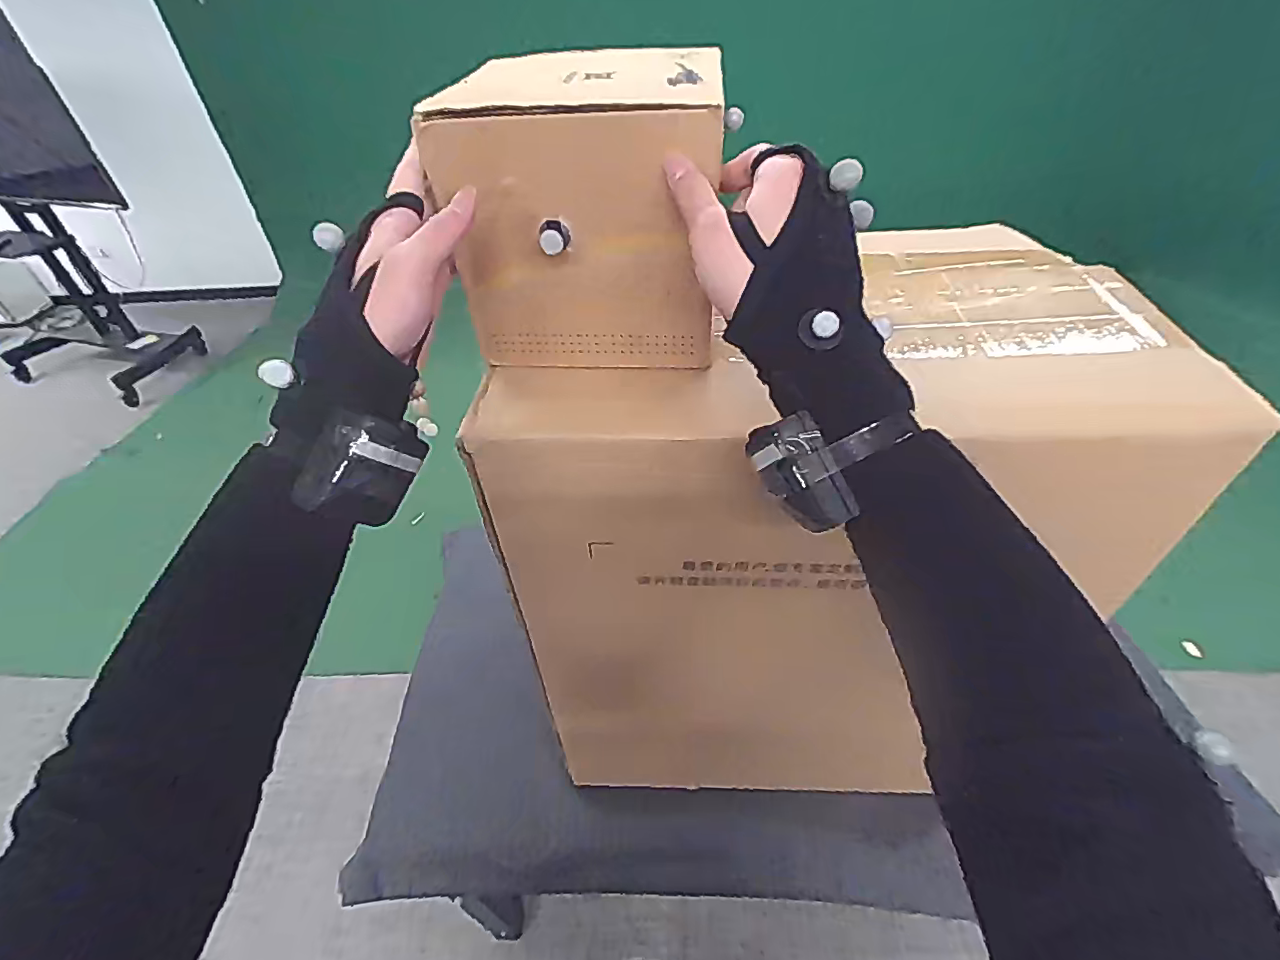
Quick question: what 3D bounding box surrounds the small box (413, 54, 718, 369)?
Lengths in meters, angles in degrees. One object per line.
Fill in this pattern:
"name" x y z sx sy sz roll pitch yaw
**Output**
"small box" -0.031 -0.197 0.408 0.179 0.176 0.168 1 47 6
